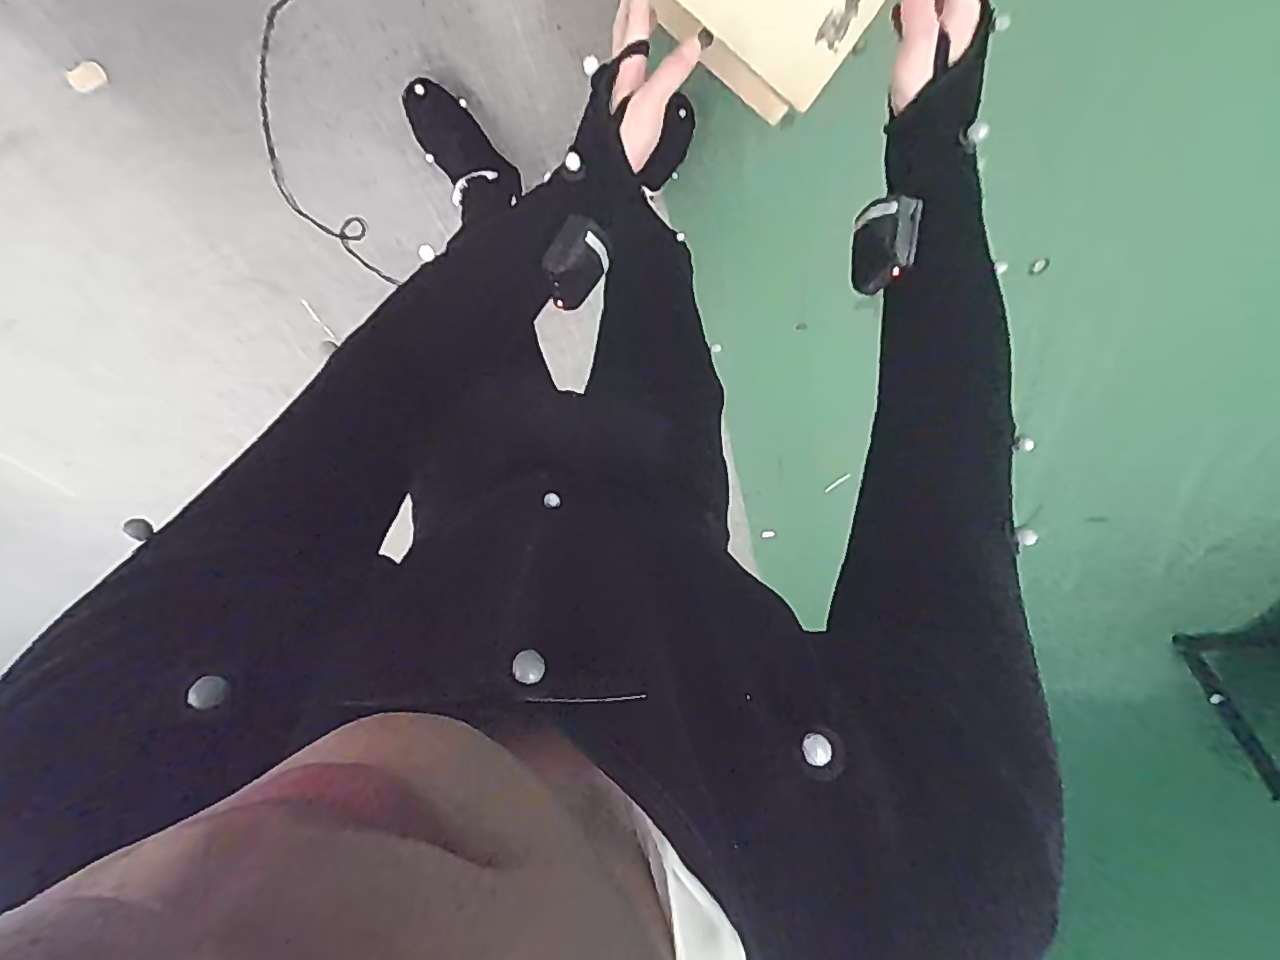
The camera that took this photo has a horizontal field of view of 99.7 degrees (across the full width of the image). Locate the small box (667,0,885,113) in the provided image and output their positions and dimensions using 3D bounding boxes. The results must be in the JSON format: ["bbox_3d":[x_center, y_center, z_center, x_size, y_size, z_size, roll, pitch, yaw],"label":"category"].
[{"bbox_3d":[0.121,-0.467,0.474,0.179,0.176,0.168,29,127,-20],"label":"small box"}]
